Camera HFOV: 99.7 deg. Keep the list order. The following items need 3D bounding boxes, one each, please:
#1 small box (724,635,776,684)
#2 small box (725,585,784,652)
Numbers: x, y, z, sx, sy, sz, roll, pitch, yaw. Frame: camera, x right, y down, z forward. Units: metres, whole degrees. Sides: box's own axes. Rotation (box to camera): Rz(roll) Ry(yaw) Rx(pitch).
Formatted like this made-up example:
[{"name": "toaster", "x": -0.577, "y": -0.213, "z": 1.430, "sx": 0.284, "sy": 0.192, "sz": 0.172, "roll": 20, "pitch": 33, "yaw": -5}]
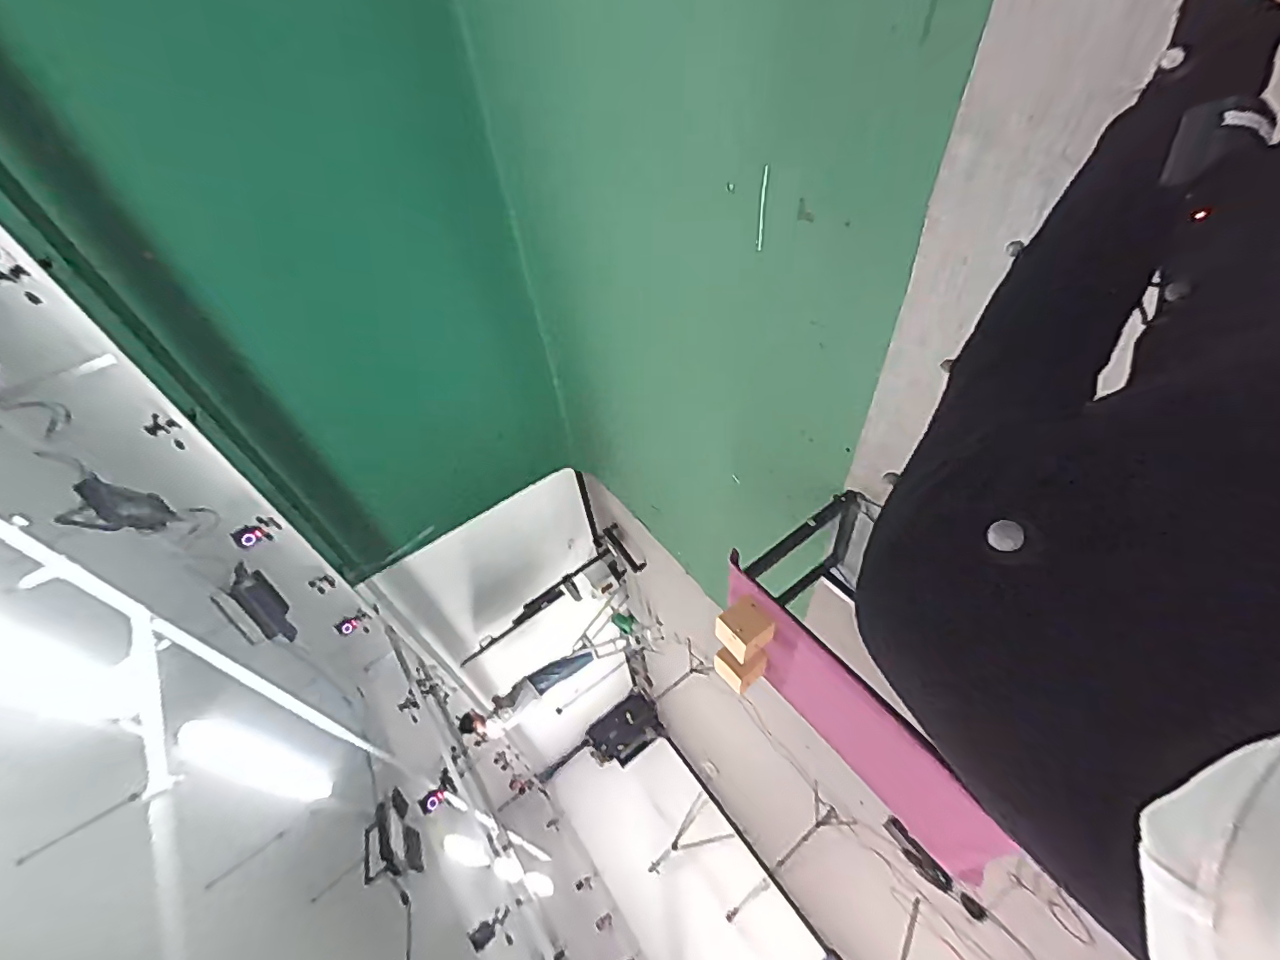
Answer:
[{"name": "small box", "x": 0.506, "y": 0.797, "z": 2.491, "sx": 0.168, "sy": 0.176, "sz": 0.179, "roll": 41, "pitch": 154, "yaw": 35}, {"name": "small box", "x": 0.470, "y": 0.567, "z": 2.222, "sx": 0.168, "sy": 0.176, "sz": 0.179, "roll": 43, "pitch": 156, "yaw": 34}]
